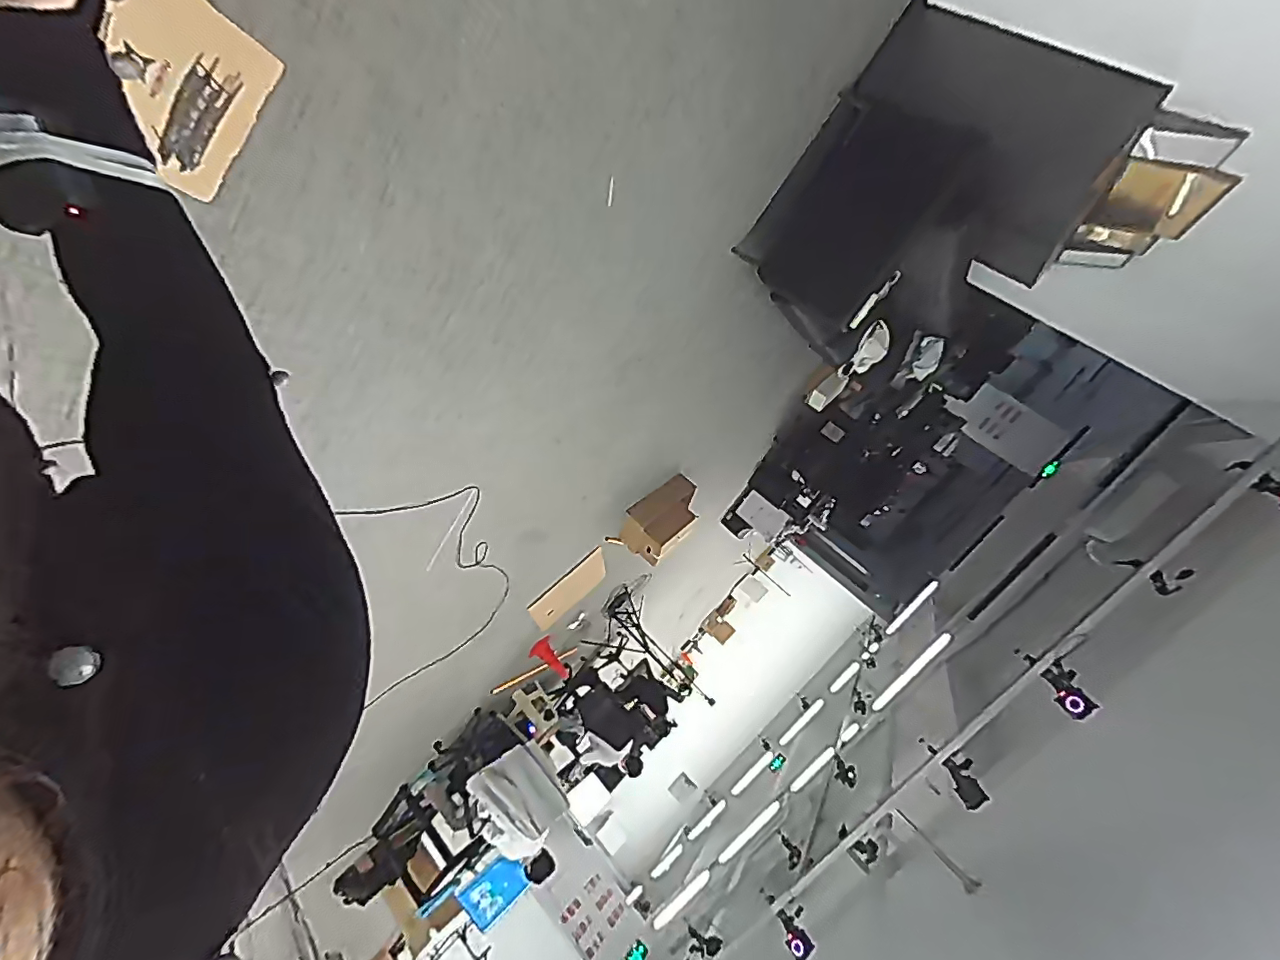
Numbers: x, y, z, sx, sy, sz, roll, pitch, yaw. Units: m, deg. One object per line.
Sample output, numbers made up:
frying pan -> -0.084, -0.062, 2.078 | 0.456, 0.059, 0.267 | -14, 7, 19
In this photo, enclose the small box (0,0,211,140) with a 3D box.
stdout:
small box -> -0.607, -0.513, 0.563 | 0.179, 0.176, 0.168 | -55, 158, 10
